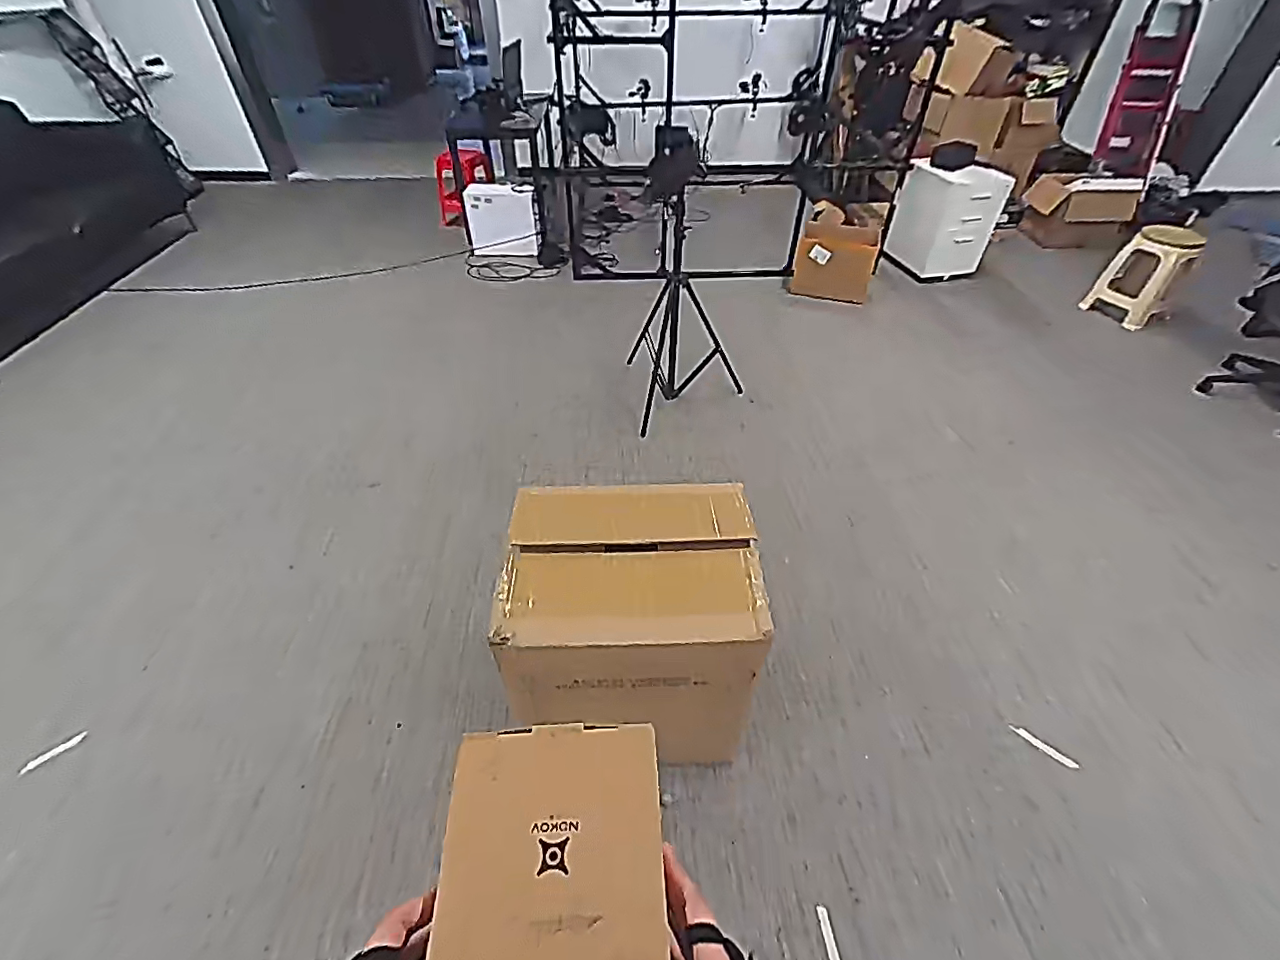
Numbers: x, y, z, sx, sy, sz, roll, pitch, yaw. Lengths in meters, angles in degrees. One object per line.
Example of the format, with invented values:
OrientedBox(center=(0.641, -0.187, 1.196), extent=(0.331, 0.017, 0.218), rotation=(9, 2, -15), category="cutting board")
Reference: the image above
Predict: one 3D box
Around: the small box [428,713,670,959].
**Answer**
OrientedBox(center=(-0.066, 0.325, 0.473), extent=(0.168, 0.176, 0.179), rotation=(-2, 48, -2), category="small box")
